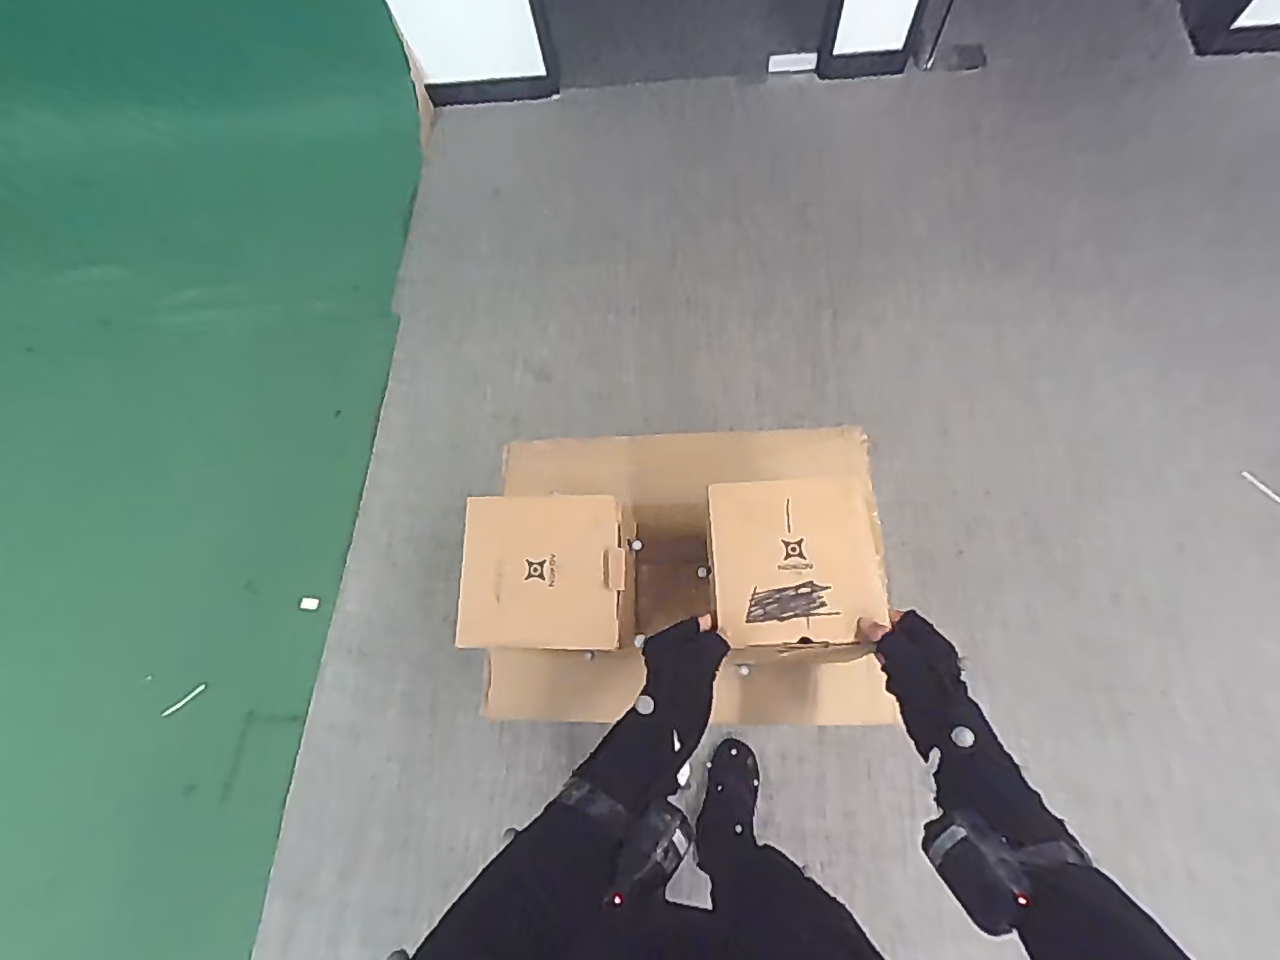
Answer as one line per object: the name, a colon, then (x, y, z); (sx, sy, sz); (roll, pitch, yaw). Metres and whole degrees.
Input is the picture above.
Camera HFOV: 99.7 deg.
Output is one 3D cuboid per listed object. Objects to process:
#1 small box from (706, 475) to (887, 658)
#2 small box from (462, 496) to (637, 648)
small box: (0.165, 0.110, 0.629); (0.168, 0.176, 0.179); (-4, 65, 5)
small box: (-0.097, 0.119, 0.668); (0.179, 0.176, 0.168); (-3, 74, 7)
